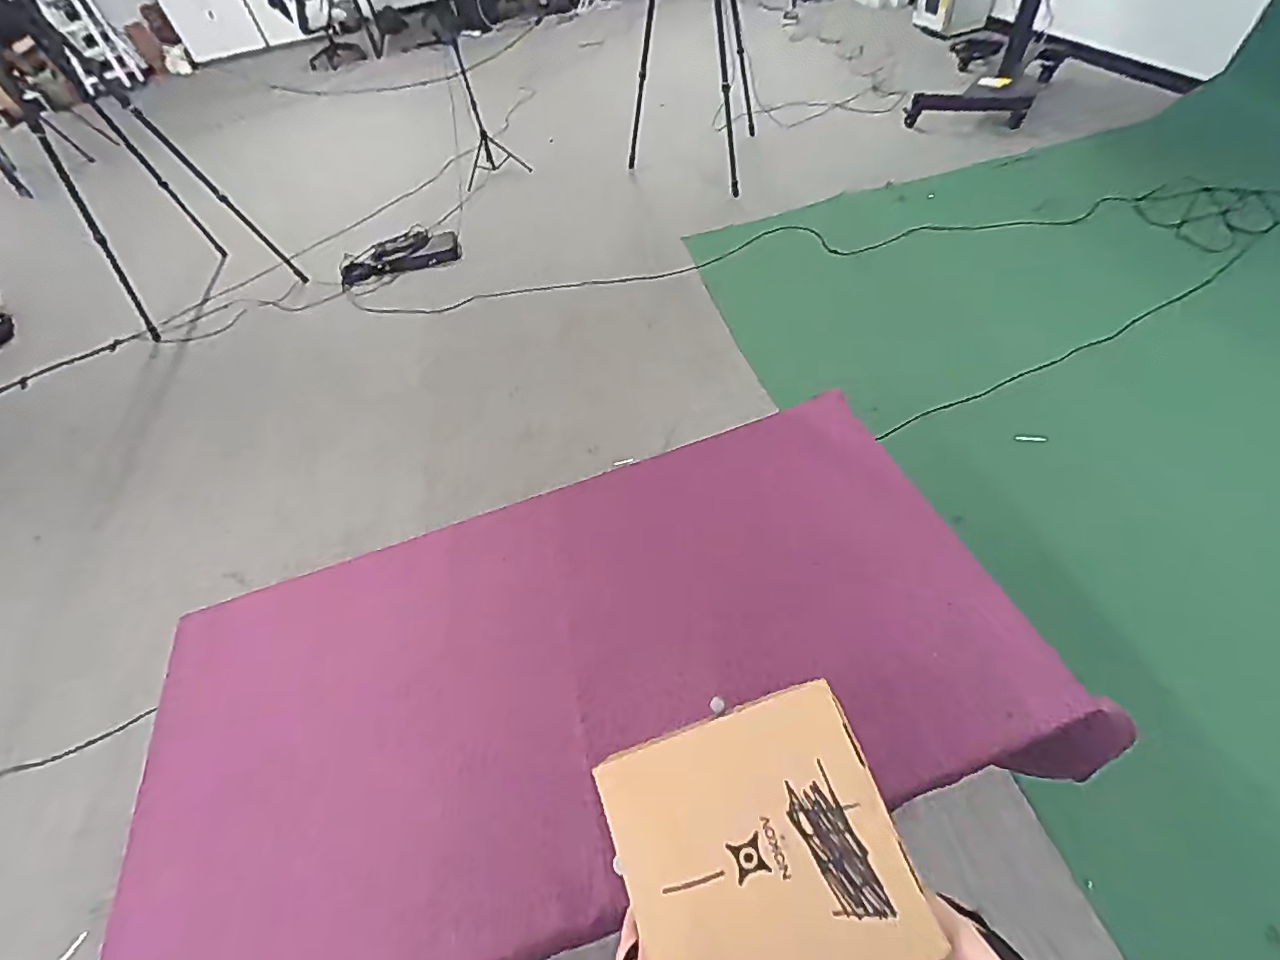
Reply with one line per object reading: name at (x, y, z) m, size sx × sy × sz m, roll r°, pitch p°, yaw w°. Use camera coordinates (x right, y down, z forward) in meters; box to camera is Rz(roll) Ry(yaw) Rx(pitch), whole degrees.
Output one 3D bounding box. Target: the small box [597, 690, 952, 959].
small box at (0.078, 0.271, 0.407) m, size 0.179 × 0.176 × 0.168 m, roll -18°, pitch 66°, yaw -6°
